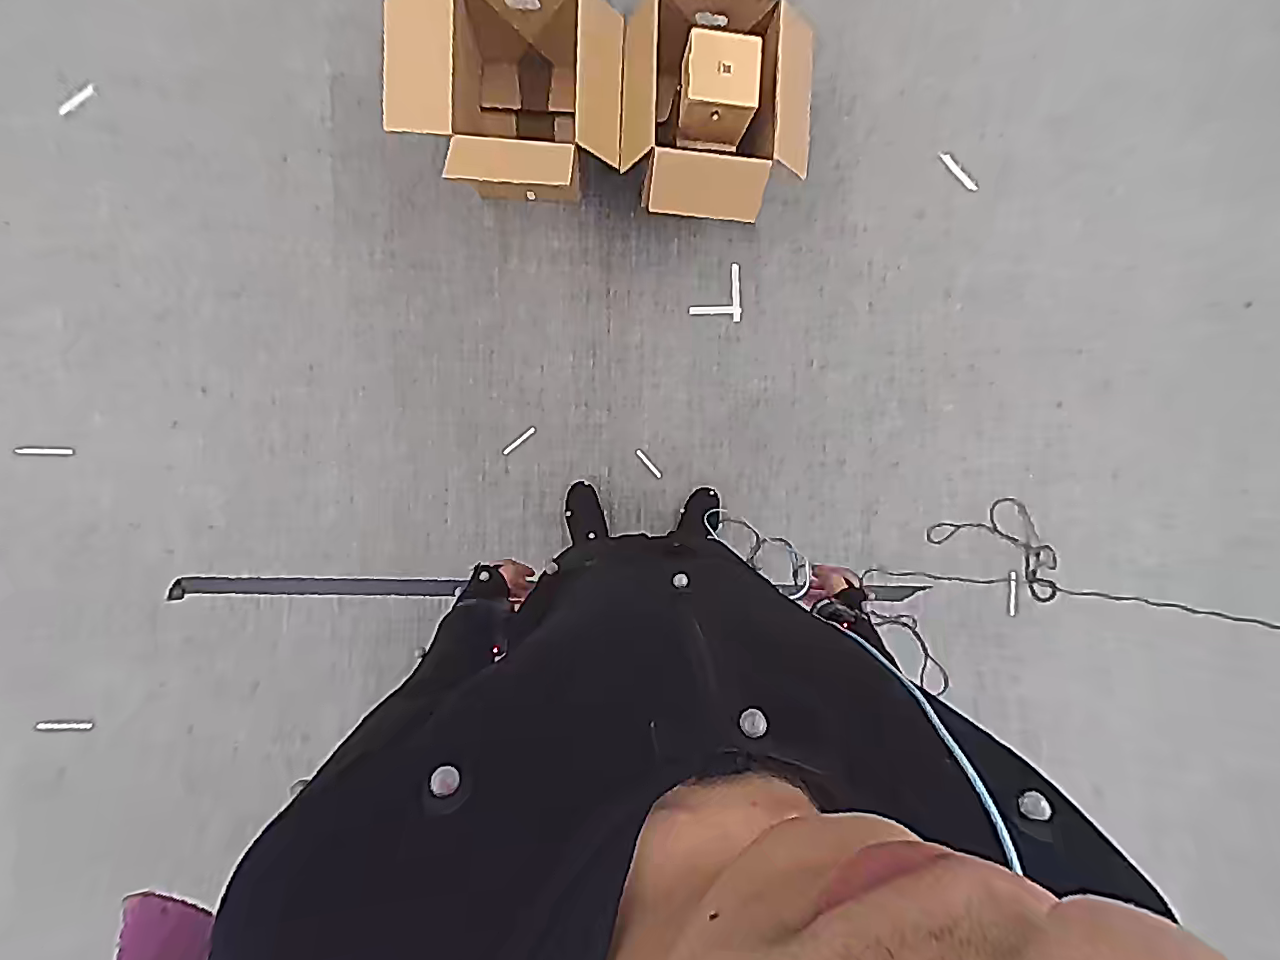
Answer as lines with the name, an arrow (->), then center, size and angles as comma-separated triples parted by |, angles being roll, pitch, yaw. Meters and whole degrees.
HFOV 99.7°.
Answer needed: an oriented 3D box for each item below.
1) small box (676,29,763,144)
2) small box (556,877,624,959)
small box -> 0.194, -0.980, 1.363 | 0.179, 0.176, 0.168 | 3, 93, -6
small box -> -0.132, 1.221, 1.473 | 0.179, 0.176, 0.168 | -2, 92, -1
